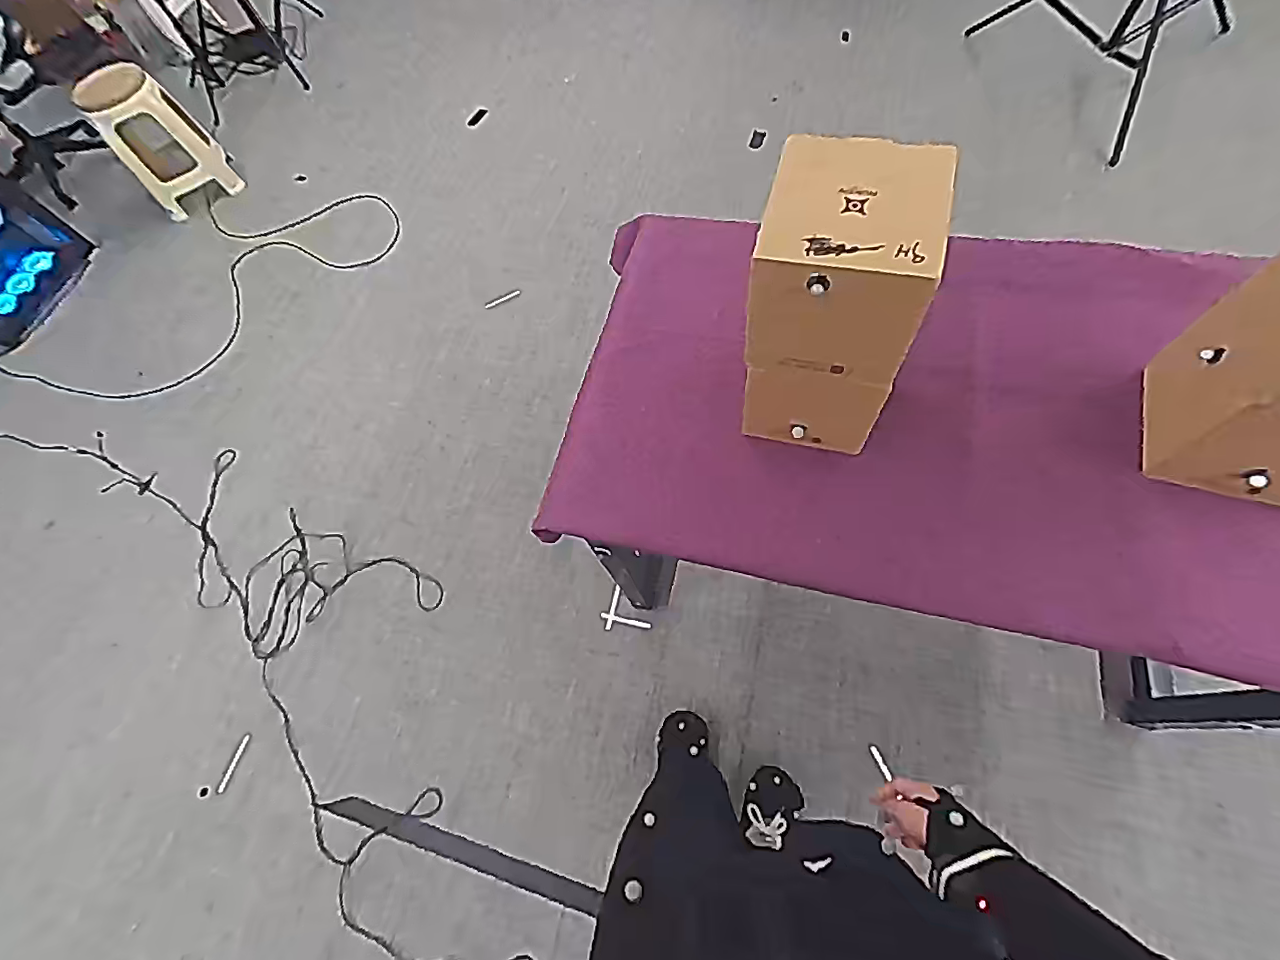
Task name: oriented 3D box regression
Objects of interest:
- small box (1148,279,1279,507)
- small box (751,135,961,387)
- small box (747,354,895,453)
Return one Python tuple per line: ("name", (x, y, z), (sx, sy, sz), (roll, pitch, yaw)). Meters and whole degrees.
("small box", (0.733, -0.093, 0.619), (0.168, 0.176, 0.179), (16, 69, 16))
("small box", (0.218, -0.229, 0.580), (0.168, 0.176, 0.179), (13, 68, 14))
("small box", (0.242, -0.161, 0.727), (0.168, 0.176, 0.179), (12, 69, 14))
